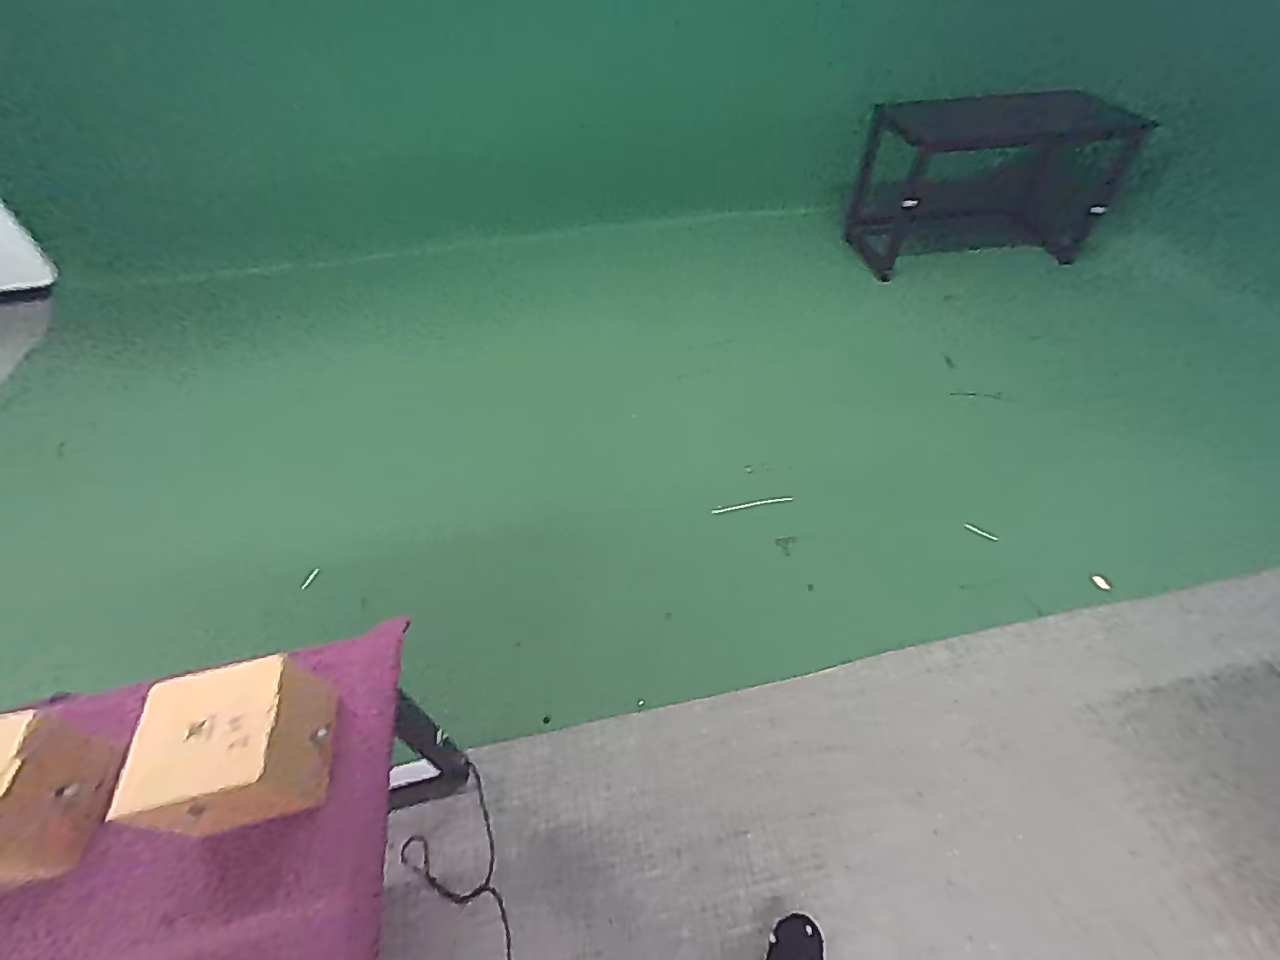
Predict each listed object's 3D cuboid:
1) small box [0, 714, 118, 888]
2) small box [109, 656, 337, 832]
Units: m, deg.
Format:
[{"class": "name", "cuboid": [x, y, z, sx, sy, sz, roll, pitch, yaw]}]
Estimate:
[{"class": "small box", "cuboid": [-0.873, 0.436, 0.722, 0.179, 0.176, 0.168, -8, 49, -9]}, {"class": "small box", "cuboid": [-0.566, 0.377, 0.765, 0.179, 0.176, 0.168, -11, 51, -7]}]
